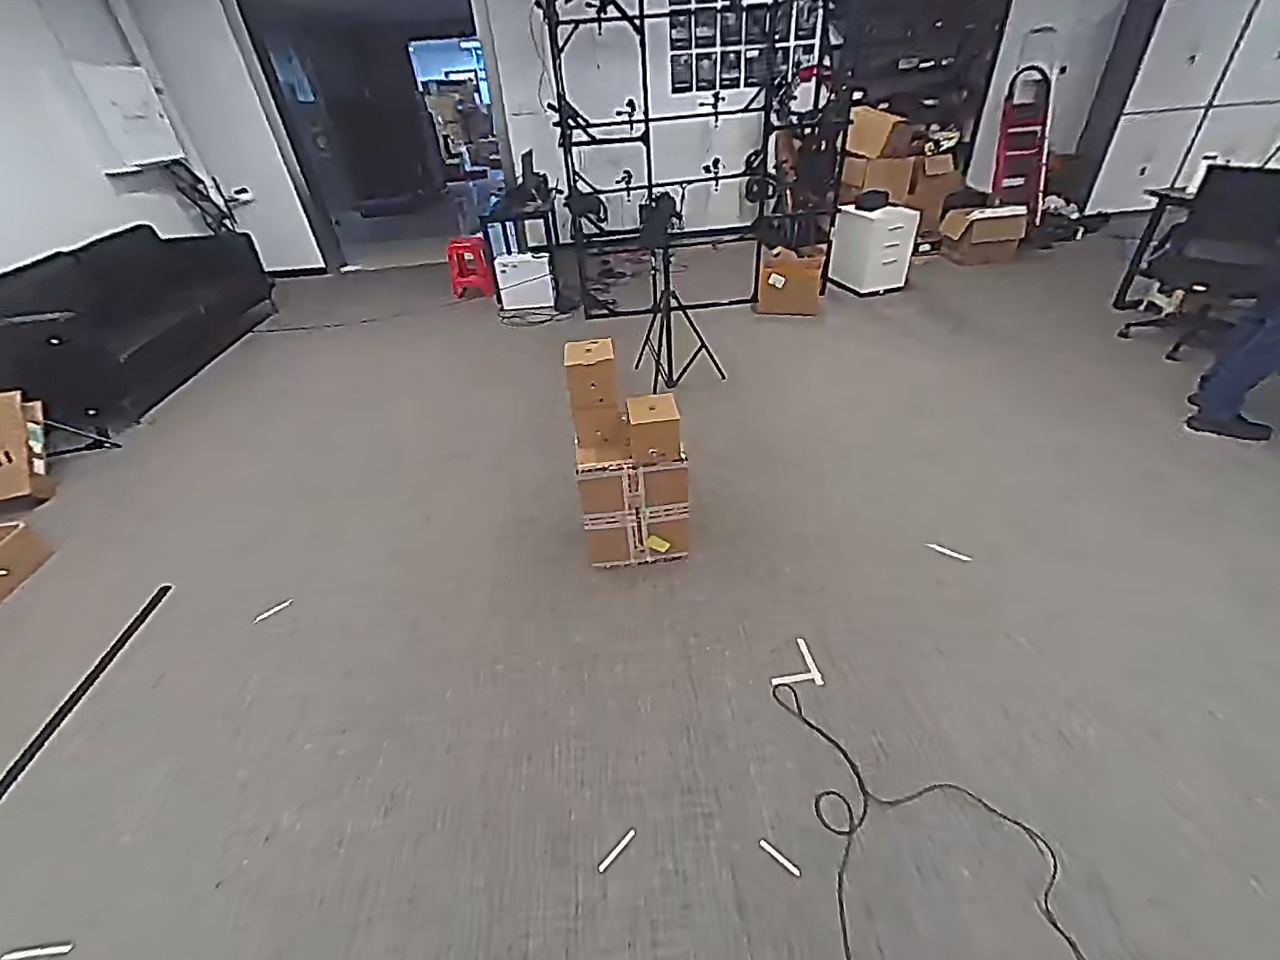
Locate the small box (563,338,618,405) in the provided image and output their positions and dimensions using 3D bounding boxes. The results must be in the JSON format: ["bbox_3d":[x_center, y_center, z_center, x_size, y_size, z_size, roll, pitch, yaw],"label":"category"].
[{"bbox_3d":[-0.172,-0.370,1.877,0.168,0.176,0.179,-8,39,-1],"label":"small box"}]

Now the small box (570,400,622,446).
[{"bbox_3d":[-0.163,-0.246,1.986,0.168,0.176,0.179,-9,39,-2],"label":"small box"}]
